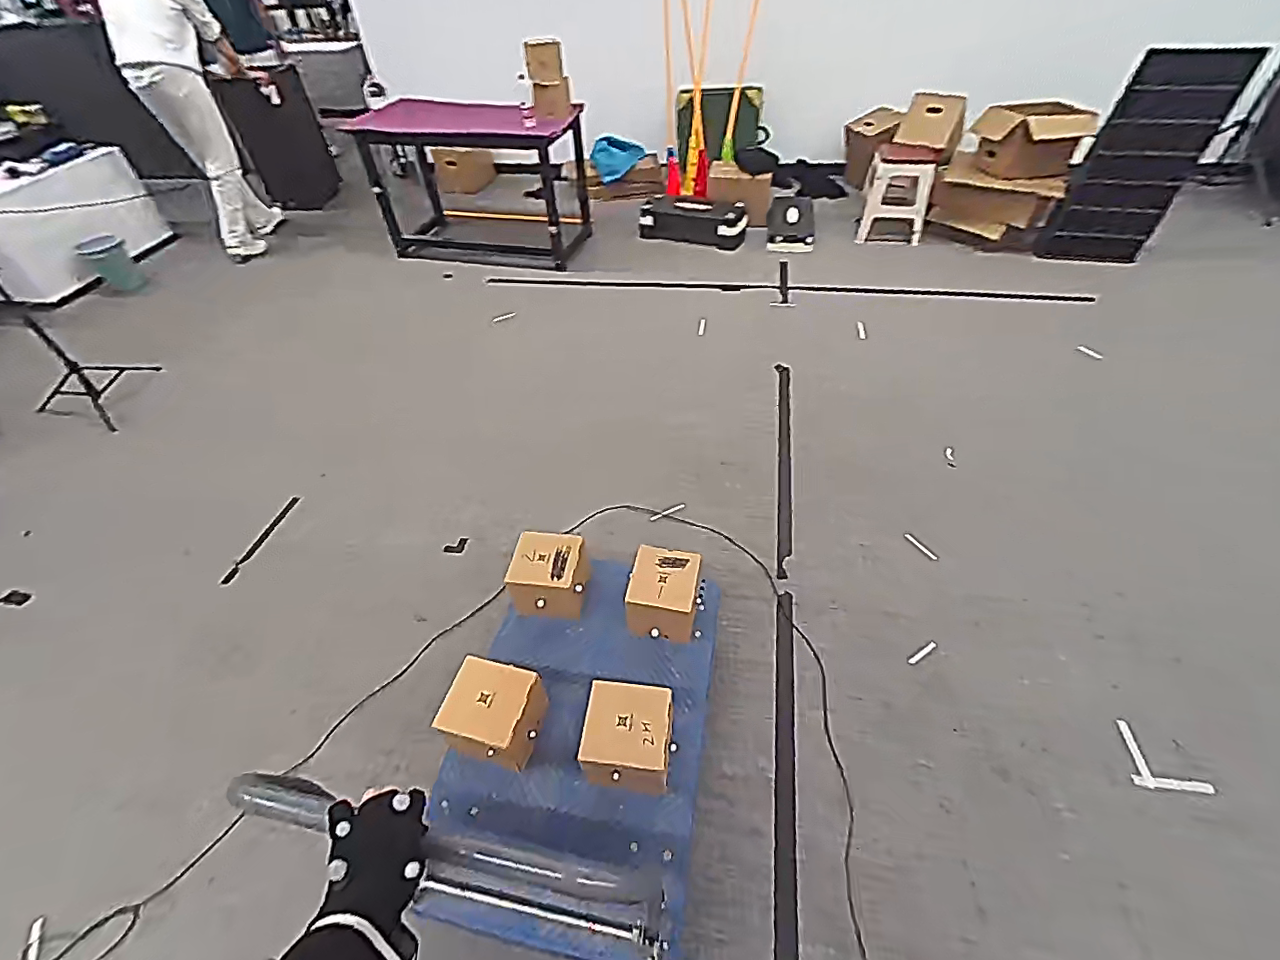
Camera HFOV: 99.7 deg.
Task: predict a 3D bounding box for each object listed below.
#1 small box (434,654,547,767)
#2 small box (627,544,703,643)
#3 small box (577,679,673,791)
[{"bbox_3d":[-0.328,0.523,1.224,0.179,0.176,0.168,10,47,11],"label":"small box"},{"bbox_3d":[0.067,0.298,1.419,0.168,0.176,0.179,8,48,11],"label":"small box"},{"bbox_3d":[-0.024,0.556,1.175,0.179,0.176,0.168,4,47,7],"label":"small box"}]
